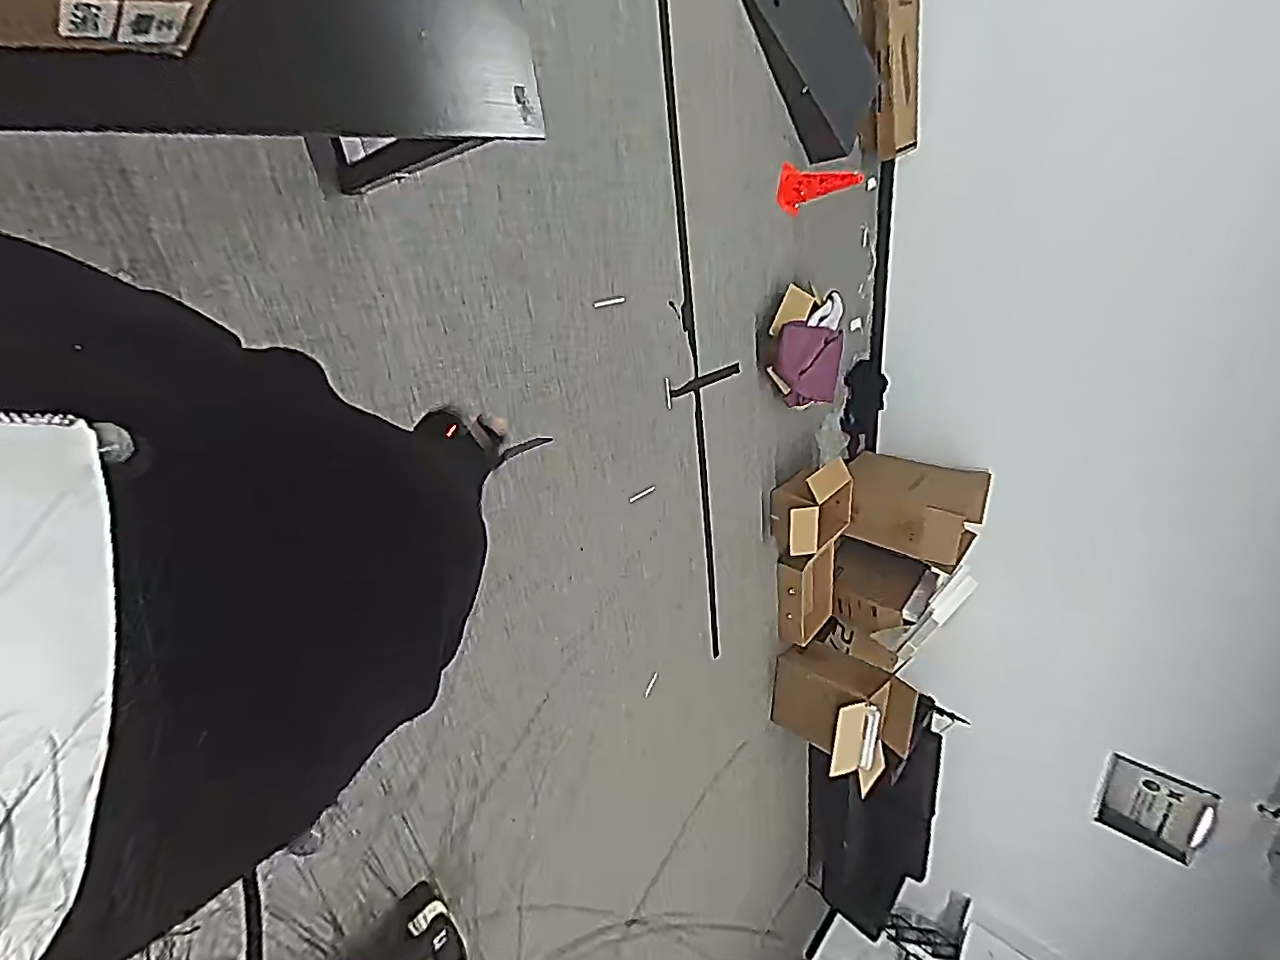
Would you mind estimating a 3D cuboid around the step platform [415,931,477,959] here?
[{"bbox_3d":[-0.755,1.698,1.541,0.684,0.204,0.286,-30,123,-38],"label":"step platform"}]
